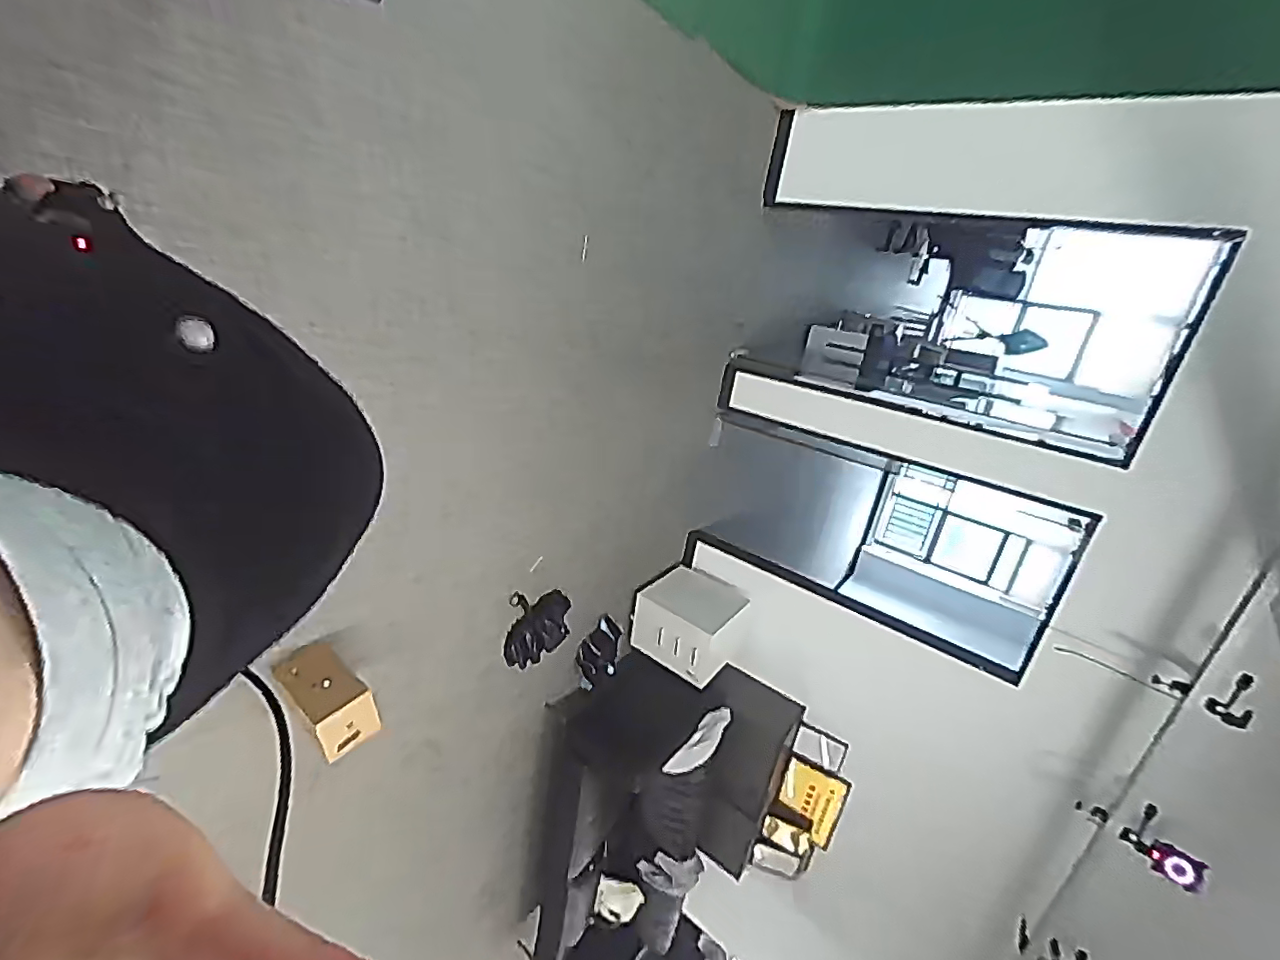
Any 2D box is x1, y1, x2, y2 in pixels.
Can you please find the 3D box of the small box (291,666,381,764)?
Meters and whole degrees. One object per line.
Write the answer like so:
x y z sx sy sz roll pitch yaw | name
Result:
-0.924 0.706 1.644 0.168 0.176 0.179 -30 132 -44 | small box

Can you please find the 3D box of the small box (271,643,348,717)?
-1.048 0.651 1.737 0.168 0.176 0.179 -31 135 -42 | small box
